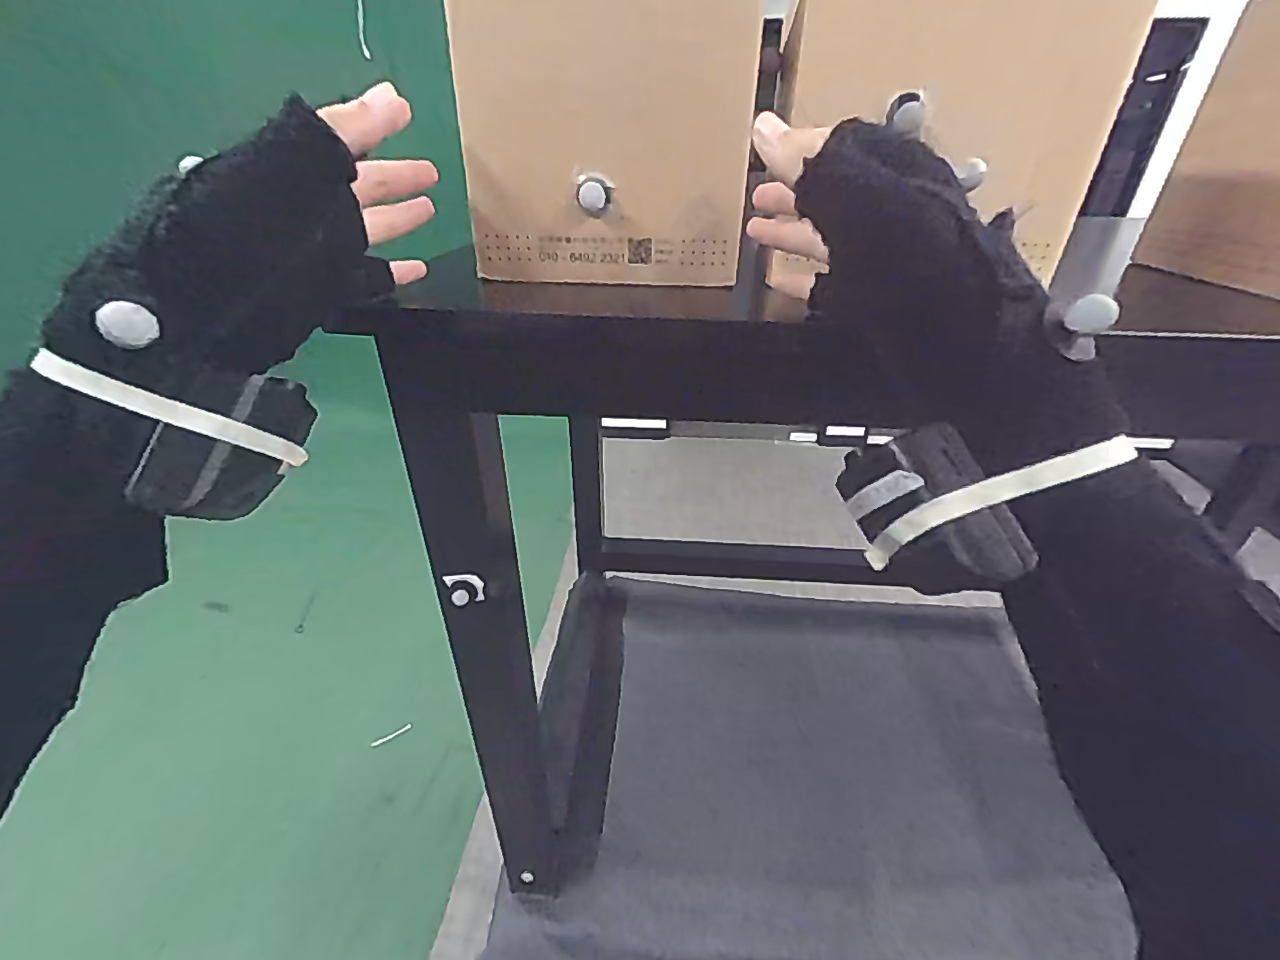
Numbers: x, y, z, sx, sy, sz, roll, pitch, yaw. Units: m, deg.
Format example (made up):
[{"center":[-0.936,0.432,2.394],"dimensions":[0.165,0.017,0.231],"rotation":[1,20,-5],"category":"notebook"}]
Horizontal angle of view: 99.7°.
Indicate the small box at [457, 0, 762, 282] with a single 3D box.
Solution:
[{"center":[-0.017,-0.245,0.377],"dimensions":[0.168,0.176,0.179],"rotation":[2,31,2],"category":"small box"}]
